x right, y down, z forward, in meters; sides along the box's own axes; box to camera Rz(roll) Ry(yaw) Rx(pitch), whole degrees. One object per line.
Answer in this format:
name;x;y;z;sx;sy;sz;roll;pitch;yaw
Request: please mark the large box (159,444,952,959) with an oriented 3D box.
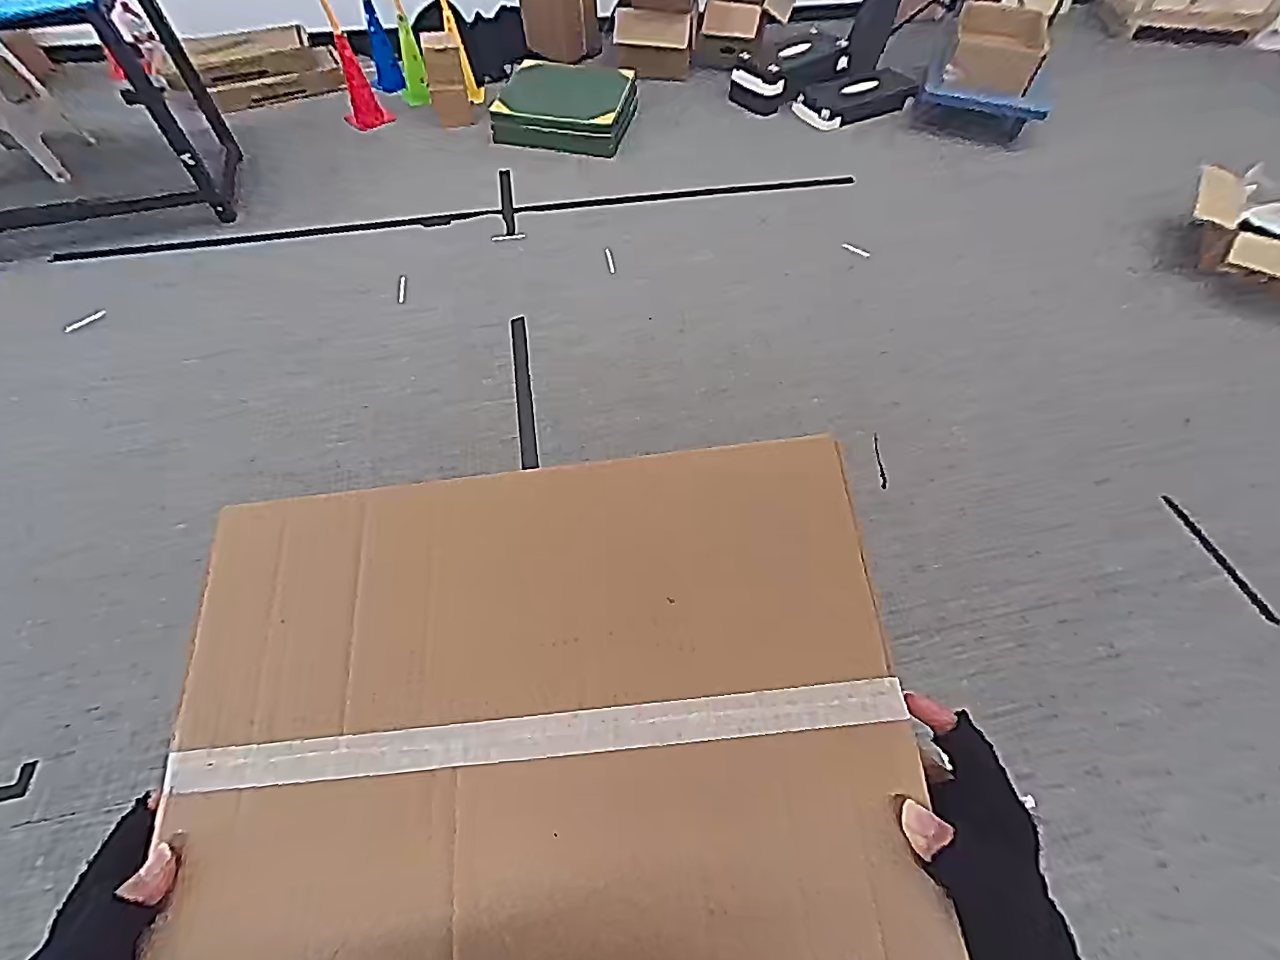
large box;-0.048;0.195;0.444;0.408;0.320;0.320;-7;68;2
